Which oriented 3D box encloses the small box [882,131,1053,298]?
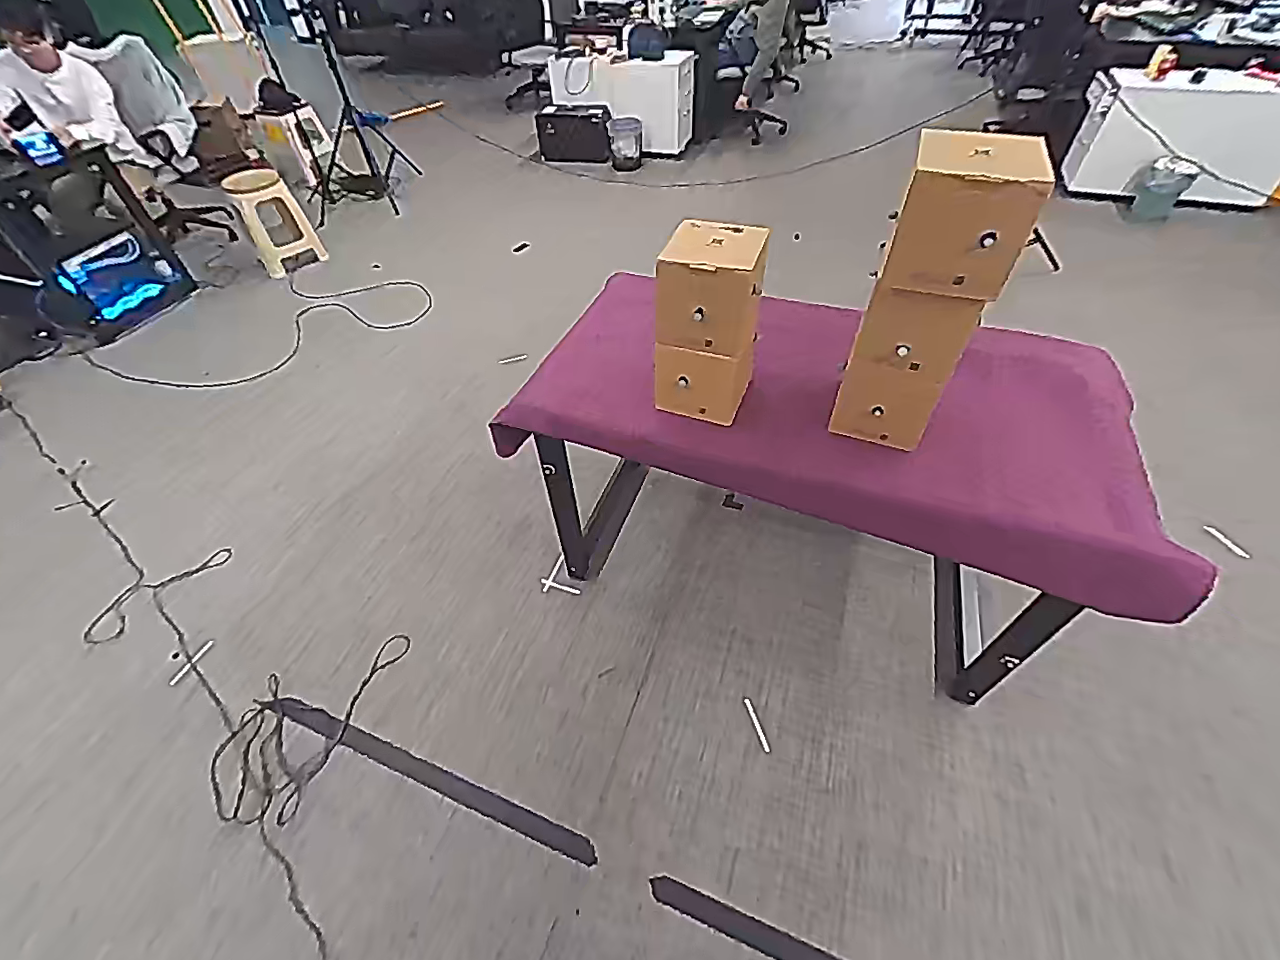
[{"bbox_3d":[0.471,-0.392,0.803,0.168,0.176,0.179,15,50,14],"label":"small box"}]

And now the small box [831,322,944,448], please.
[{"bbox_3d":[0.485,-0.190,1.059,0.168,0.176,0.179,17,51,17],"label":"small box"}]

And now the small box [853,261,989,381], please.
[{"bbox_3d":[0.483,-0.301,0.938,0.168,0.176,0.179,17,52,17],"label":"small box"}]

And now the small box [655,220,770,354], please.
[{"bbox_3d":[0.134,-0.357,1.006,0.168,0.176,0.179,14,50,14],"label":"small box"}]

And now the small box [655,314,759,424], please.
[{"bbox_3d":[0.139,-0.242,1.123,0.168,0.176,0.179,16,50,16],"label":"small box"}]
